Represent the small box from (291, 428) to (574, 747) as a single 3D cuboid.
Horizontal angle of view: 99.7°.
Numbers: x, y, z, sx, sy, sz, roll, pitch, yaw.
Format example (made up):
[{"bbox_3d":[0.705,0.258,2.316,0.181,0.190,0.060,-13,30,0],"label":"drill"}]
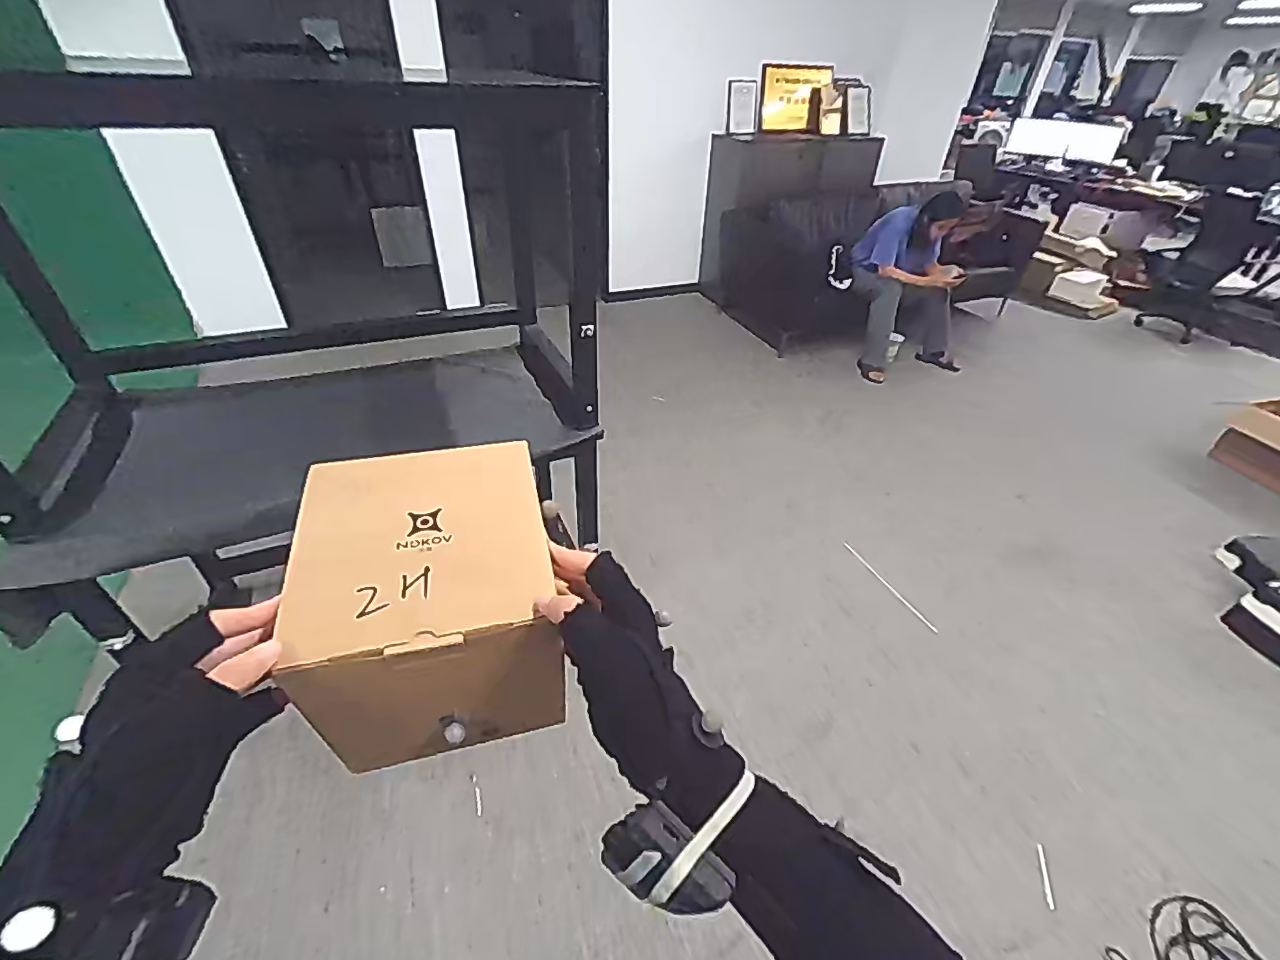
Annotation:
[{"bbox_3d":[-0.149,0.082,0.439,0.168,0.176,0.179,-8,45,-14],"label":"small box"}]
